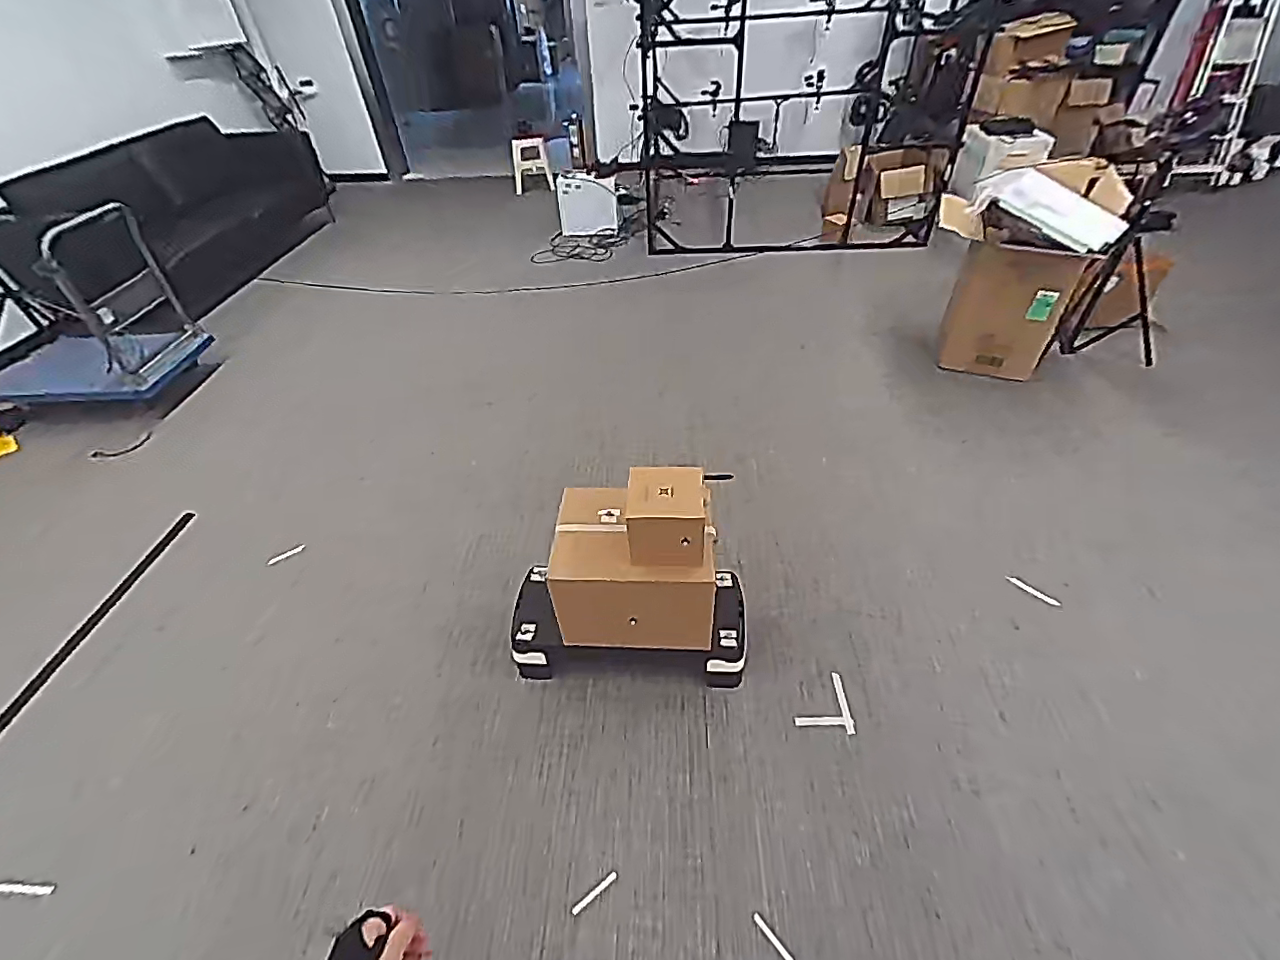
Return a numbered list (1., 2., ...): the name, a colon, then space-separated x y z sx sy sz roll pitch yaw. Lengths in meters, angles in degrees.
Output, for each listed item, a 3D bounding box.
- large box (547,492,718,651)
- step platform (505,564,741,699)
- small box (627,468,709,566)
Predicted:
1. large box: -0.003 0.250 1.460 0.408 0.320 0.320 -1 42 5
2. step platform: -0.046 0.437 1.612 0.684 0.204 0.286 3 43 9
3. small box: 0.068 0.088 1.268 0.179 0.176 0.168 0 43 5
